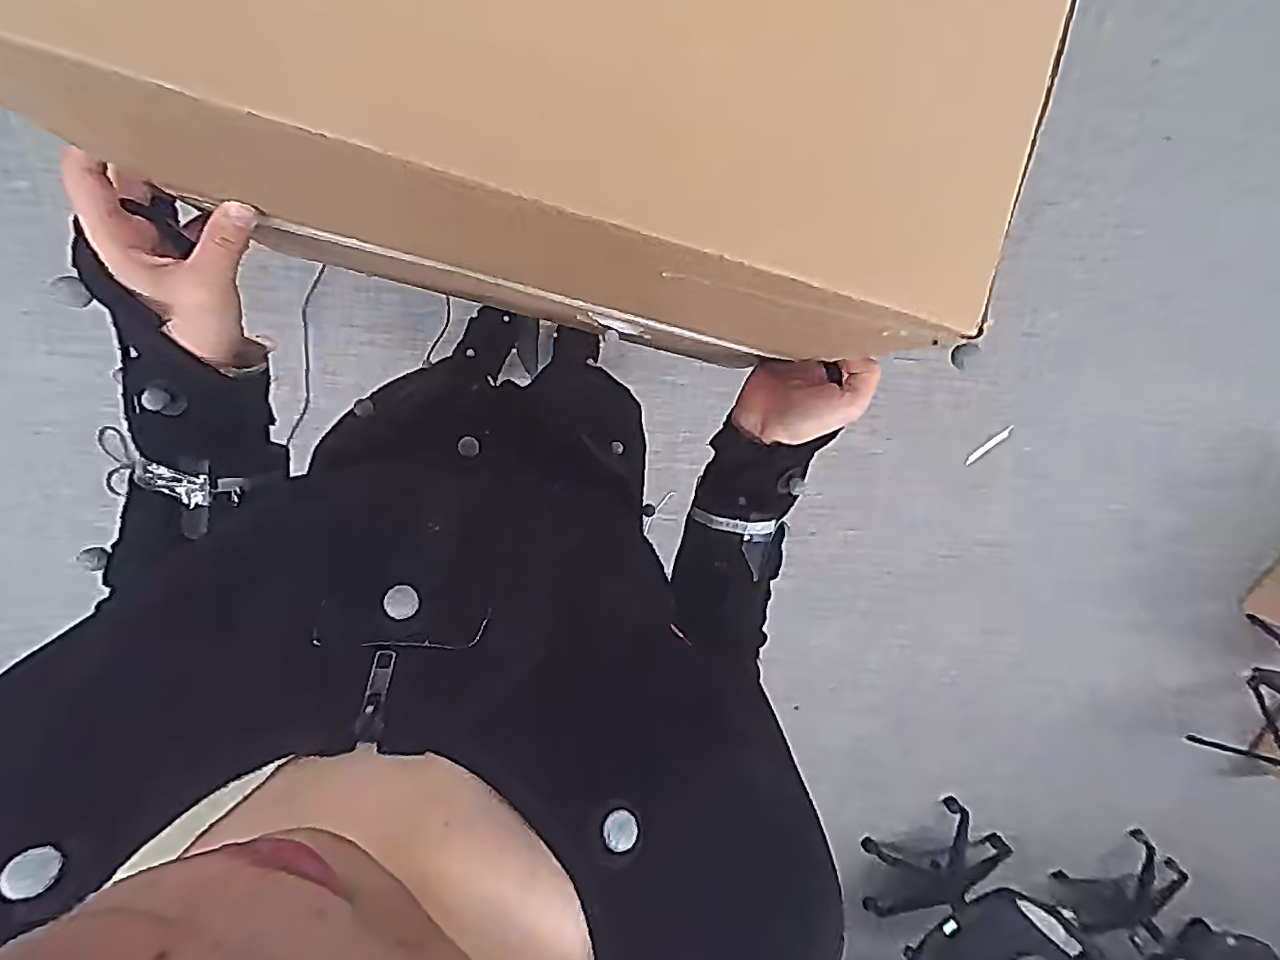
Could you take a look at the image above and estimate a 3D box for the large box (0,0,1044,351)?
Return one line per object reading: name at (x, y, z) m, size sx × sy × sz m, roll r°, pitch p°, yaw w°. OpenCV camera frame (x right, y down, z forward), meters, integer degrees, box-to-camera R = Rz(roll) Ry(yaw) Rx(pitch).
large box at (-0.051, -0.278, 0.315) m, size 0.408 × 0.320 × 0.320 m, roll 9°, pitch 99°, yaw -12°
